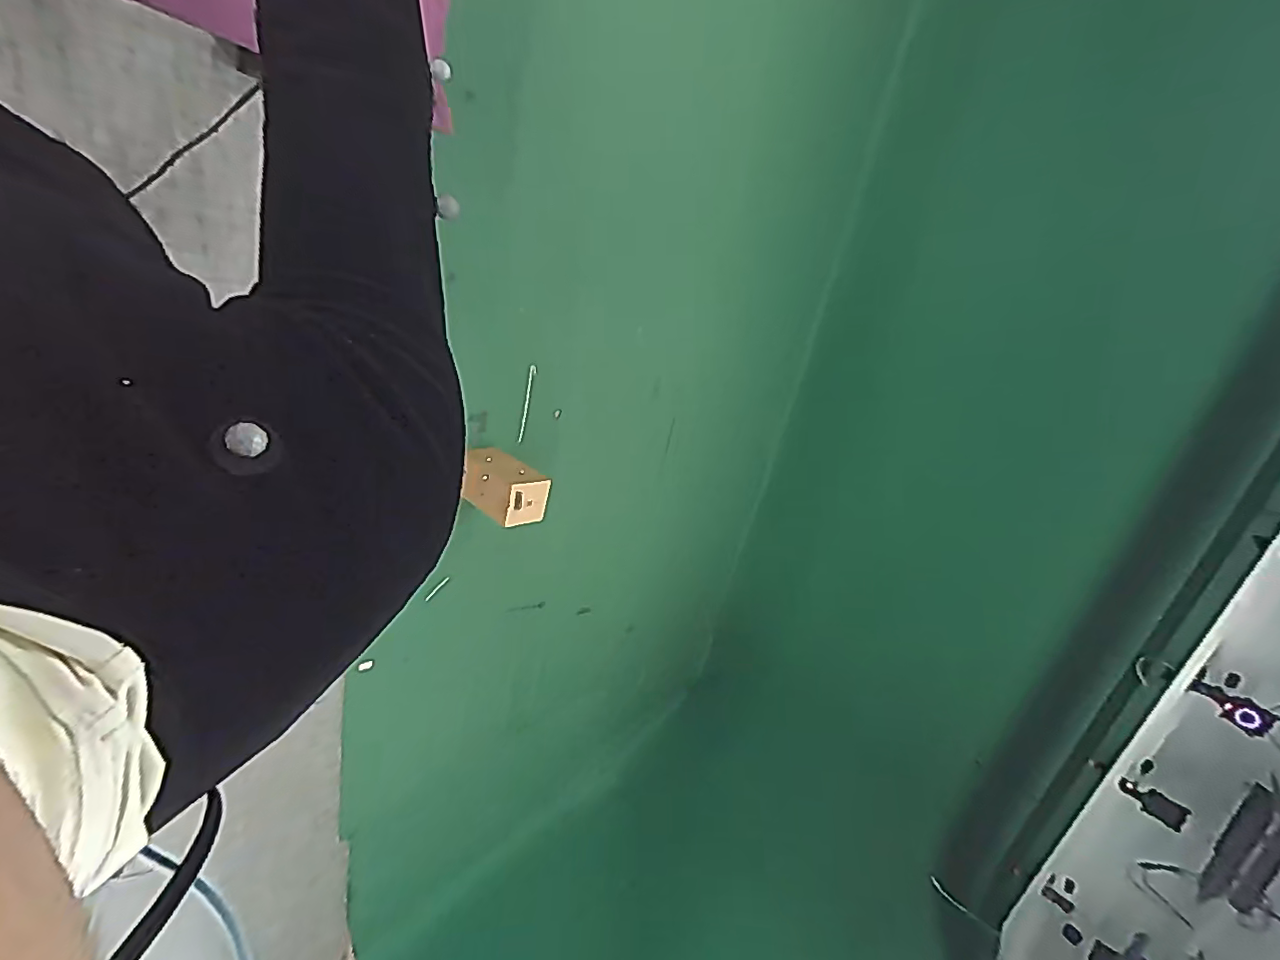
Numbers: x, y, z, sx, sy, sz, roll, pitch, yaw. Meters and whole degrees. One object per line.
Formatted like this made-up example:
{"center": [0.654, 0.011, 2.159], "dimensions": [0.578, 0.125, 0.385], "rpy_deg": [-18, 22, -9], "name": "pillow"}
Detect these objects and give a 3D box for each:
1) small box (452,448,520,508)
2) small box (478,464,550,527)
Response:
{"center": [-0.578, -0.013, 2.032], "dimensions": [0.179, 0.176, 0.168], "rpy_deg": [-9, 120, -49], "name": "small box"}
{"center": [-0.458, 0.051, 1.941], "dimensions": [0.179, 0.176, 0.168], "rpy_deg": [-8, 120, -51], "name": "small box"}
